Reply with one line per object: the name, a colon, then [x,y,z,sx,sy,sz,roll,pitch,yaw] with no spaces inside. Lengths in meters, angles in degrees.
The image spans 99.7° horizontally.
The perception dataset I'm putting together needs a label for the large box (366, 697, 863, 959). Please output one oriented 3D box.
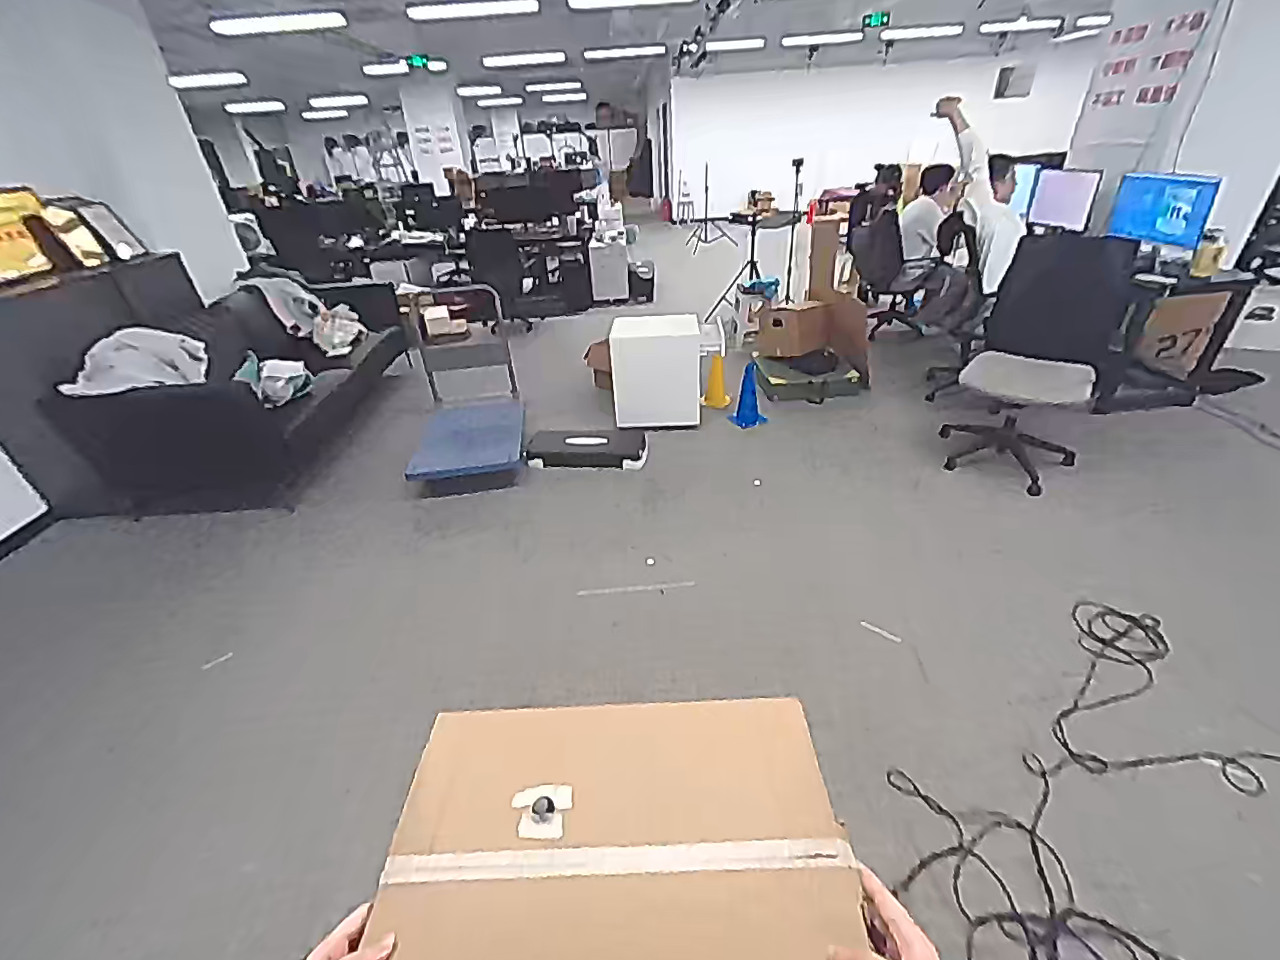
large box: [-0.011,0.469,0.567,0.408,0.320,0.320,-5,32,3]
